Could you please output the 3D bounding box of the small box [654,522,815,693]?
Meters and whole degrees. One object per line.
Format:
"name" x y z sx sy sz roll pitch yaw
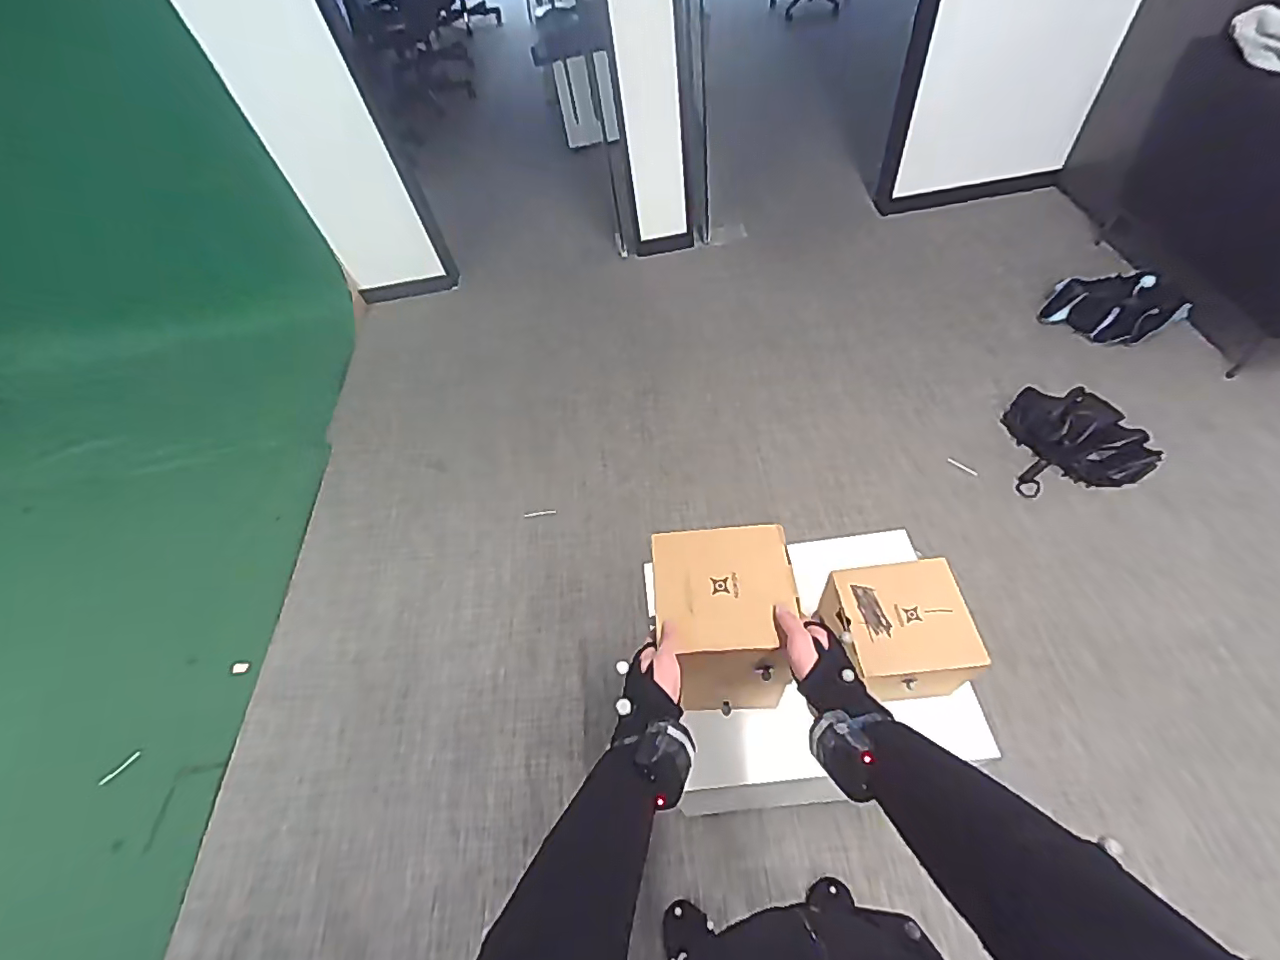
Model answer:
"small box" 0.113 0.173 0.717 0.179 0.176 0.168 -5 52 2

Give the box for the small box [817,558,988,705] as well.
"small box" 0.387 0.241 0.843 0.179 0.176 0.168 -6 54 0
